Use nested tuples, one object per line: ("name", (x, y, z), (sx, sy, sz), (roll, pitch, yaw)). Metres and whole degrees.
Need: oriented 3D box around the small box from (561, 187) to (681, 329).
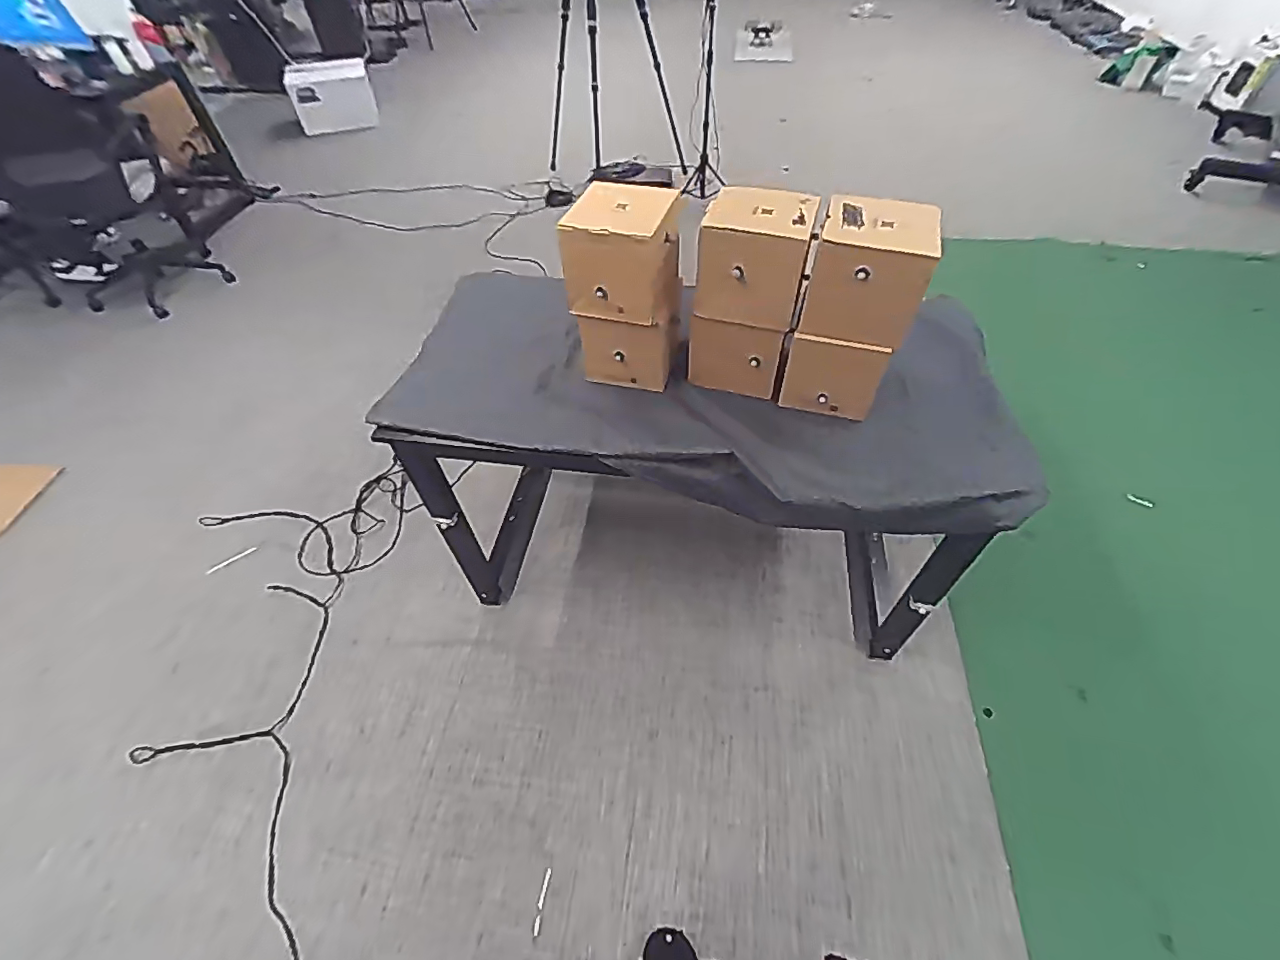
("small box", (-0.027, -0.404, 0.985), (0.168, 0.176, 0.179), (12, 54, 13))
